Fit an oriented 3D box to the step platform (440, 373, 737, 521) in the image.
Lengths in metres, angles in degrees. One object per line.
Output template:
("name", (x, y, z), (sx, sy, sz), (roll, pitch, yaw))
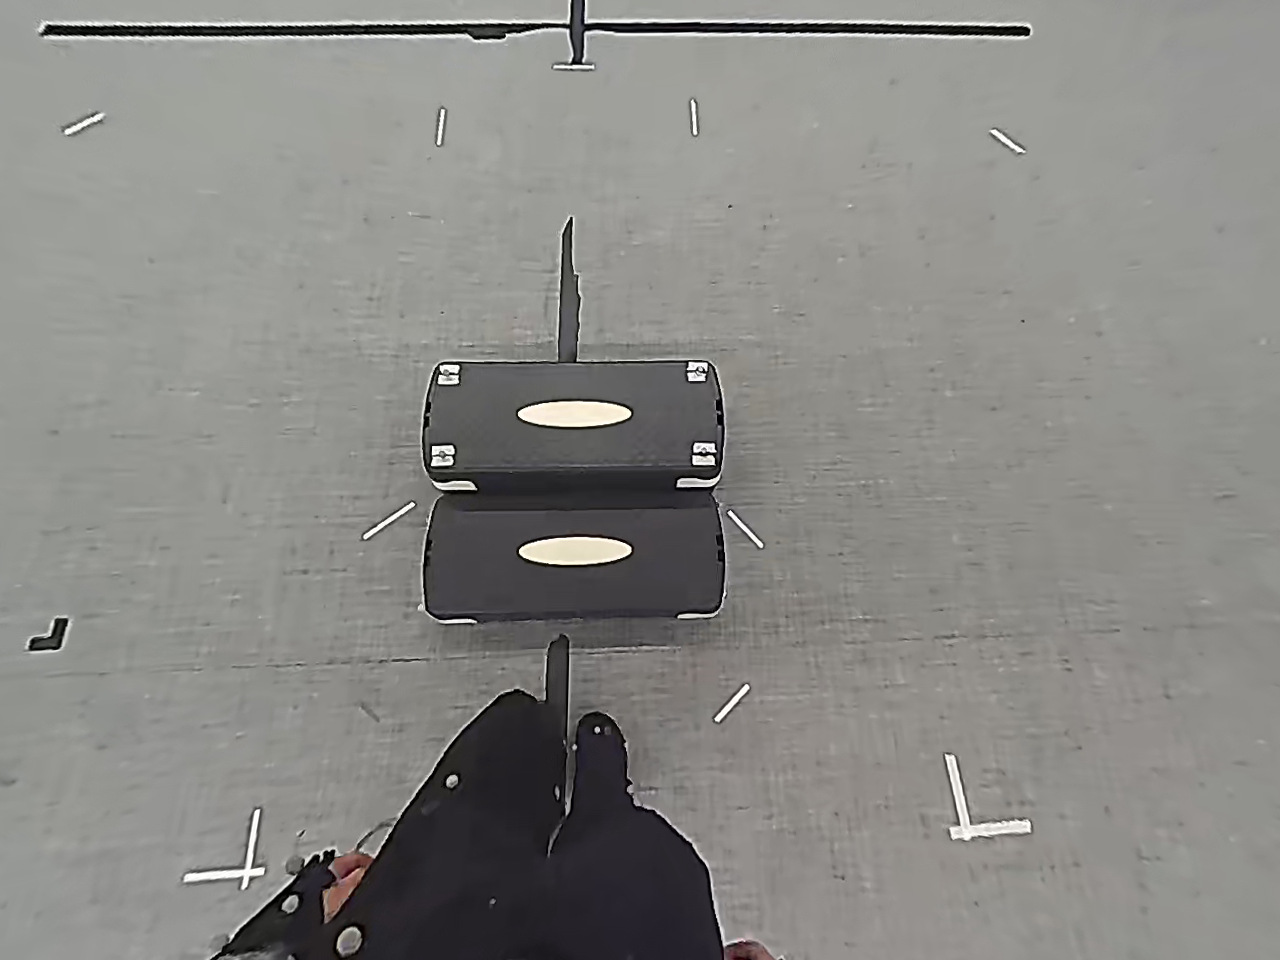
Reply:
("step platform", (-0.114, -0.077, 1.291), (0.684, 0.204, 0.286), (4, 70, -1))
